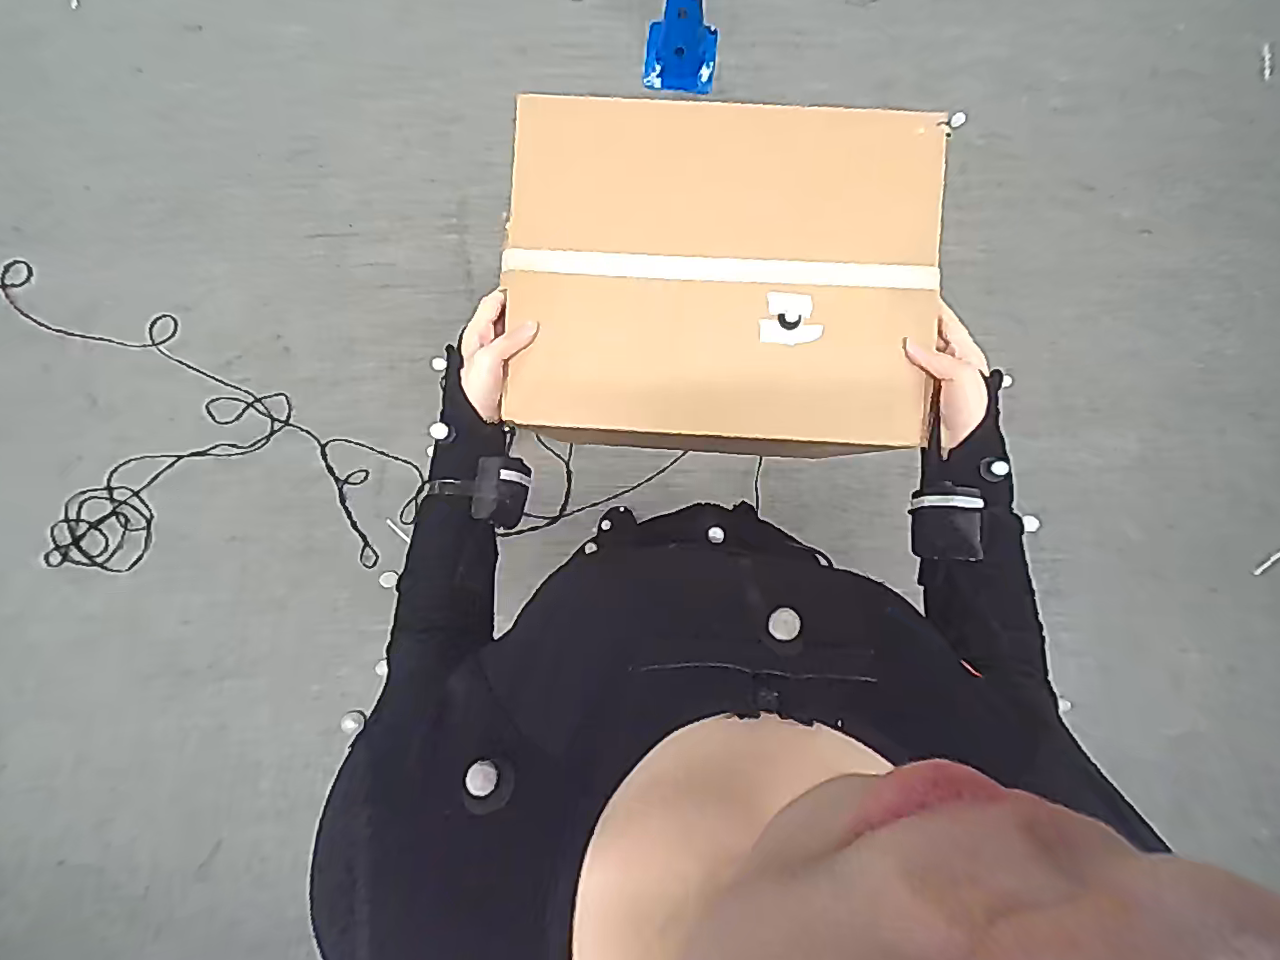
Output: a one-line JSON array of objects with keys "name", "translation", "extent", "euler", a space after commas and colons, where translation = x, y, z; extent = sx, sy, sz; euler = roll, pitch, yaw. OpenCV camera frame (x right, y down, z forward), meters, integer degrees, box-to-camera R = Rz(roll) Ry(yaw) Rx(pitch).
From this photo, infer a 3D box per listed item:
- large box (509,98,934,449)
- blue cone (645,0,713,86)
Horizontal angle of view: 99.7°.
[{"name": "large box", "translation": [0.076, -0.206, 0.665], "extent": [0.408, 0.320, 0.320], "euler": [3, 91, 0]}, {"name": "blue cone", "translation": [0.110, -1.239, 1.395], "extent": [0.193, 0.380, 0.192], "euler": [8, 88, 1]}]
